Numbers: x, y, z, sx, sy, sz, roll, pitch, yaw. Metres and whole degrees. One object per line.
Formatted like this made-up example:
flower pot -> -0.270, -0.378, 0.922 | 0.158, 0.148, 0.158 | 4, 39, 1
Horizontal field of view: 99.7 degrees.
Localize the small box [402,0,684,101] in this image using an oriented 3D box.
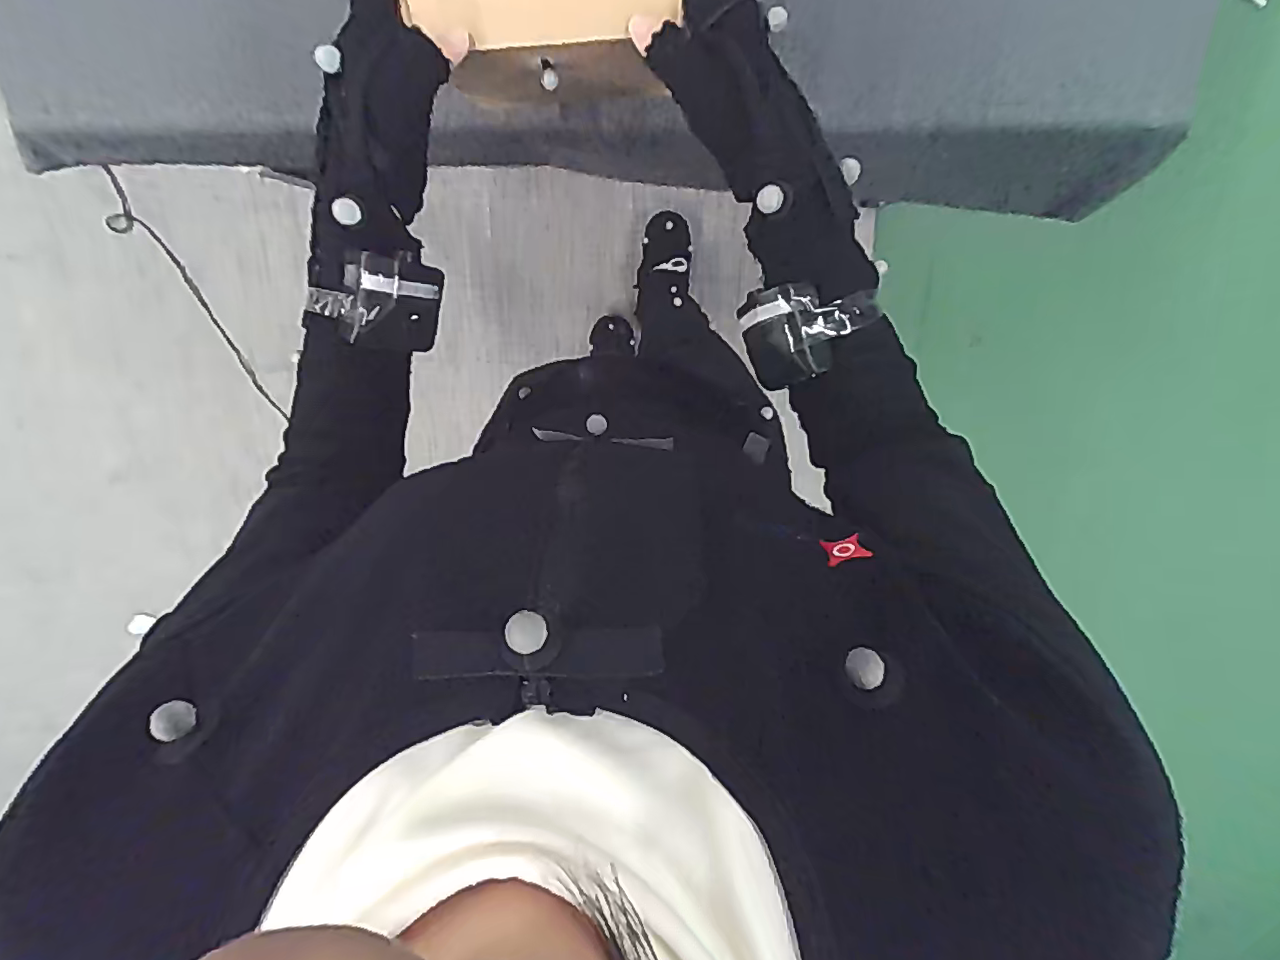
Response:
small box -> -0.060, -0.382, 0.376 | 0.179, 0.176, 0.168 | -3, 116, 3
